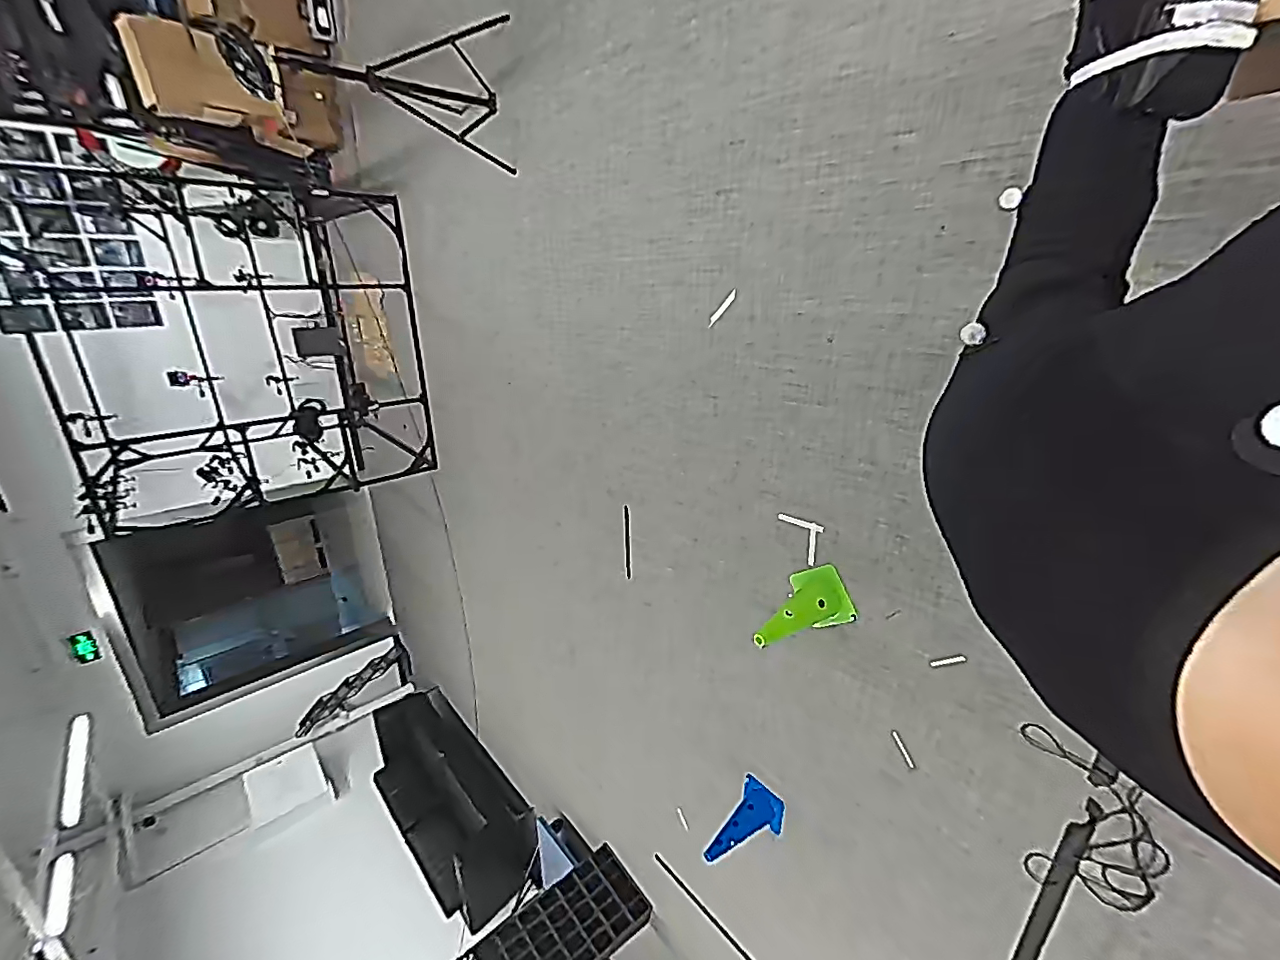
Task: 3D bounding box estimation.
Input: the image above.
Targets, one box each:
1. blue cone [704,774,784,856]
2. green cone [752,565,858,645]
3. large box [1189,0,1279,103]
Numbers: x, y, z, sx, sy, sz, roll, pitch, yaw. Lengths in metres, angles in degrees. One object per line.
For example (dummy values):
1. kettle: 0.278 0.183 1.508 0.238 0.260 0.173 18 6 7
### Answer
1. blue cone: 0.416 1.439 2.253 0.192 0.380 0.193 26 123 44
2. green cone: 0.493 0.435 1.738 0.202 0.368 0.200 -36 75 52
3. large box: 0.587 -0.430 0.254 0.408 0.320 0.320 18 121 45
